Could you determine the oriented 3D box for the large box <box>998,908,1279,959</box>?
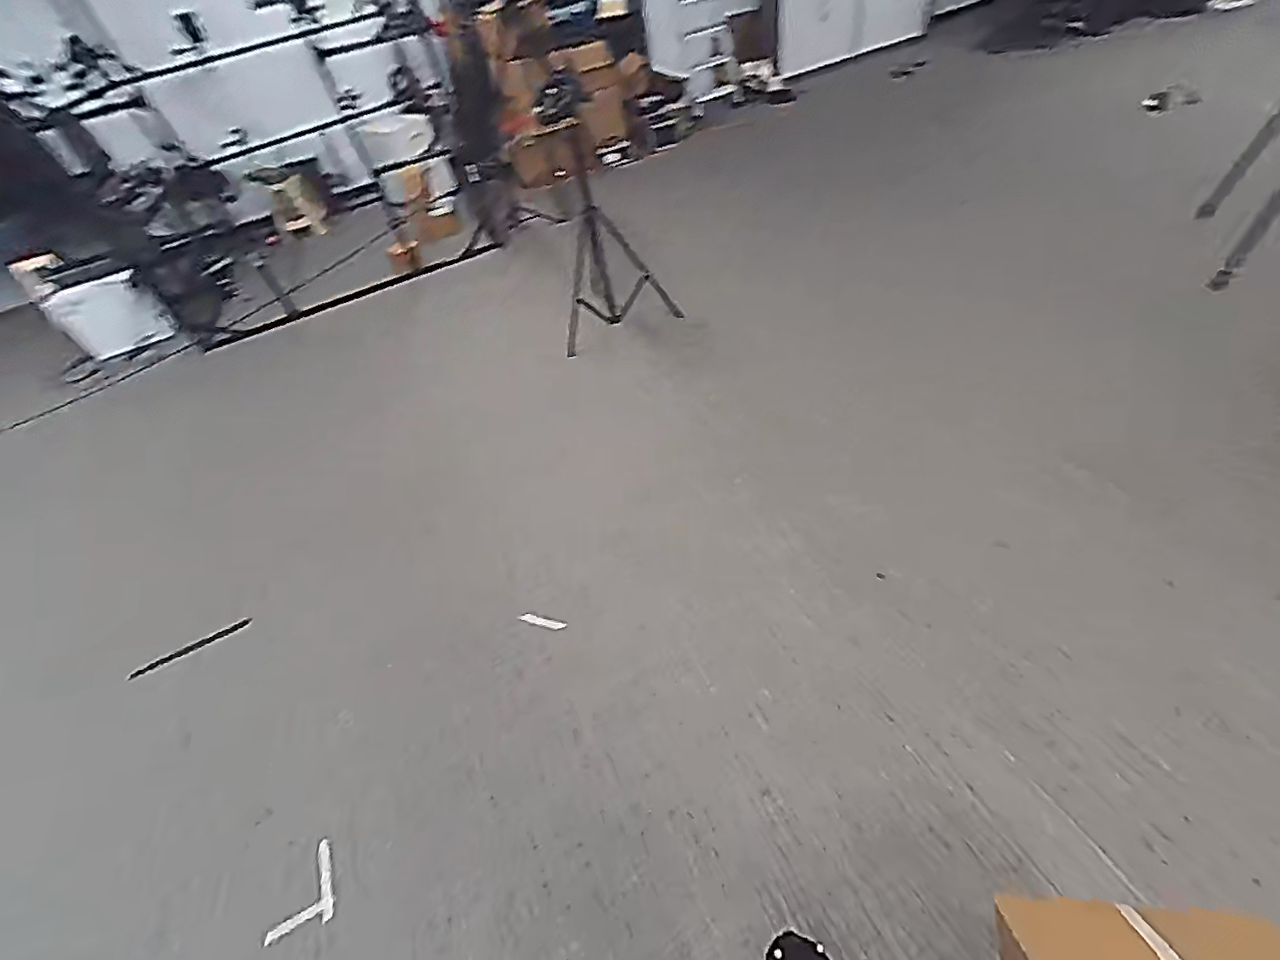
[{"bbox_3d":[0.609,0.718,0.515,0.320,0.408,0.320,-6,85,13],"label":"large box"}]
